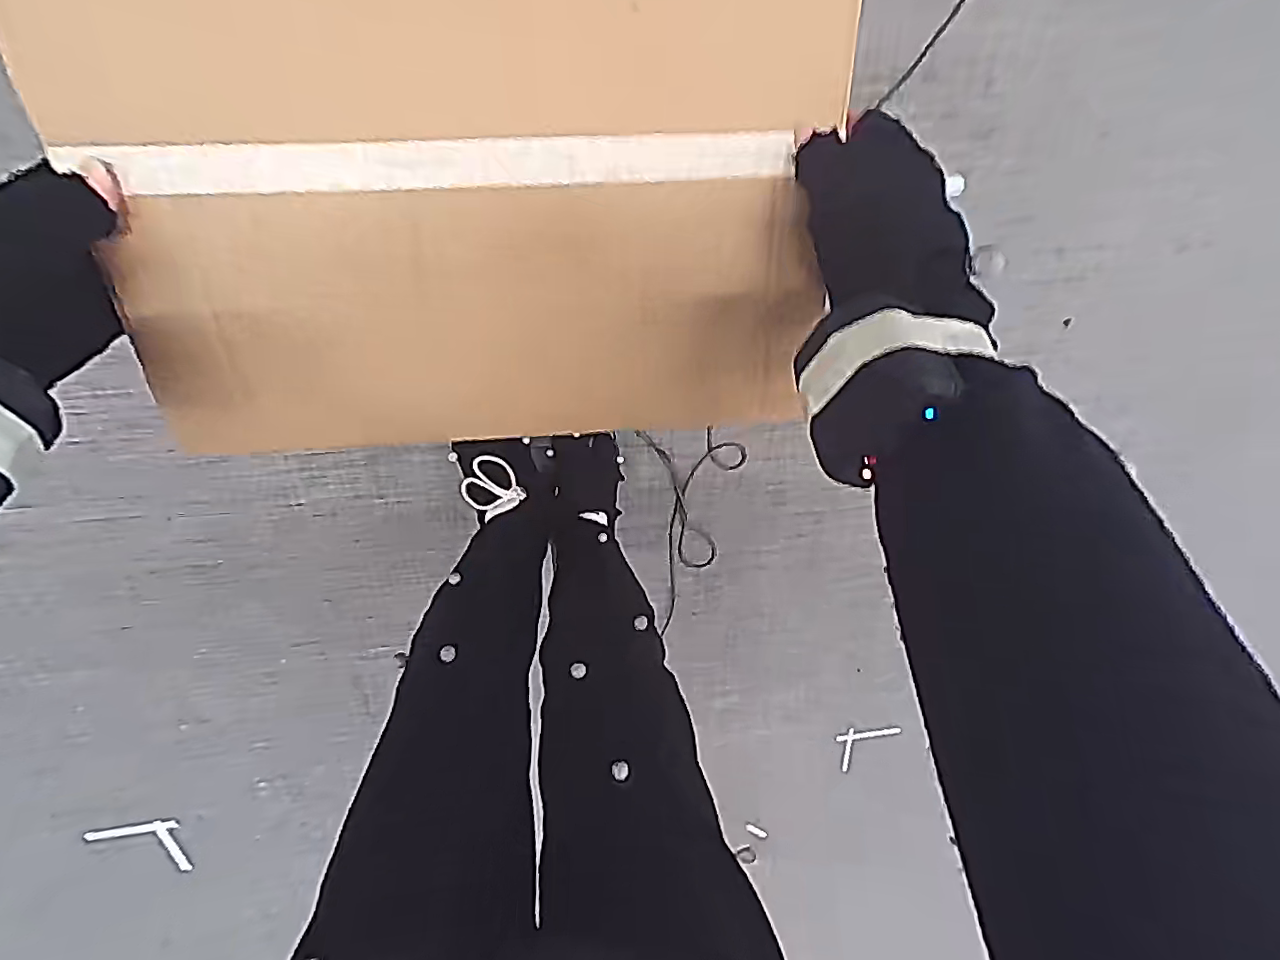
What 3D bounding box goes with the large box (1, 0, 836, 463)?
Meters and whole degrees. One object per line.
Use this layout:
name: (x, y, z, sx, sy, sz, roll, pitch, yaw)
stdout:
large box: (-0.107, -0.231, 0.432, 0.408, 0.320, 0.320, -4, 117, -5)
